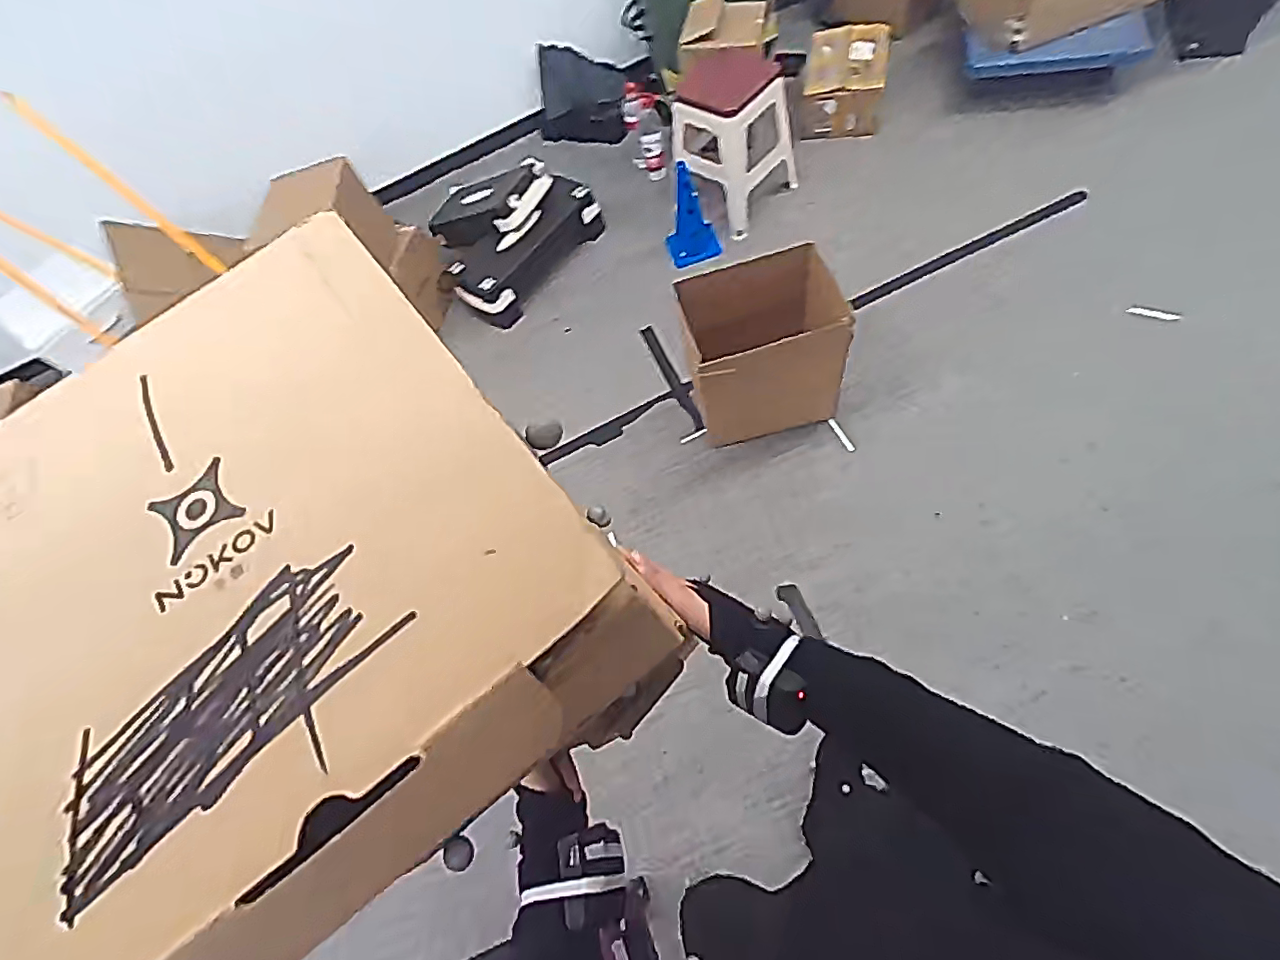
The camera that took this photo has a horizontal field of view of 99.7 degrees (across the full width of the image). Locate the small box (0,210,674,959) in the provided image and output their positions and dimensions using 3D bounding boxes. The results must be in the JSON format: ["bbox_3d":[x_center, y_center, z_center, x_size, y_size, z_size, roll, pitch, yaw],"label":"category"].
[{"bbox_3d":[-0.101,0.039,0.229,0.168,0.176,0.179,-39,68,-7],"label":"small box"}]
